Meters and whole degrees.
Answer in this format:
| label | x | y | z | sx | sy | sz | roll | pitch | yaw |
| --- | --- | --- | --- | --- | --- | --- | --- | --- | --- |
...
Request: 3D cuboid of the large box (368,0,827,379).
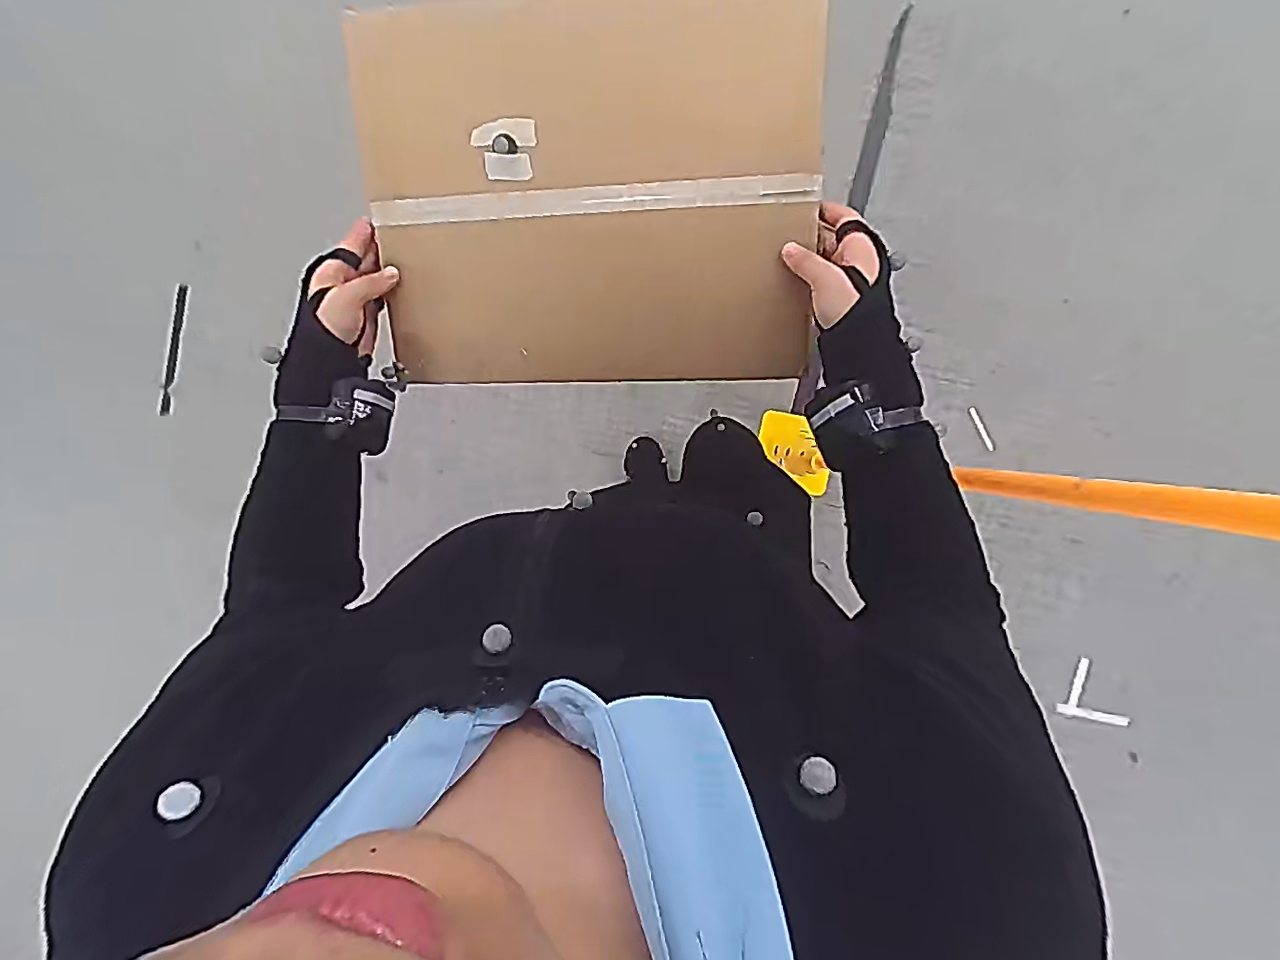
| label | x | y | z | sx | sy | sz | roll | pitch | yaw |
| --- | --- | --- | --- | --- | --- | --- | --- | --- | --- |
| large box | -0.021 | -0.295 | 0.634 | 0.408 | 0.320 | 0.320 | 1 | 106 | 7 |
